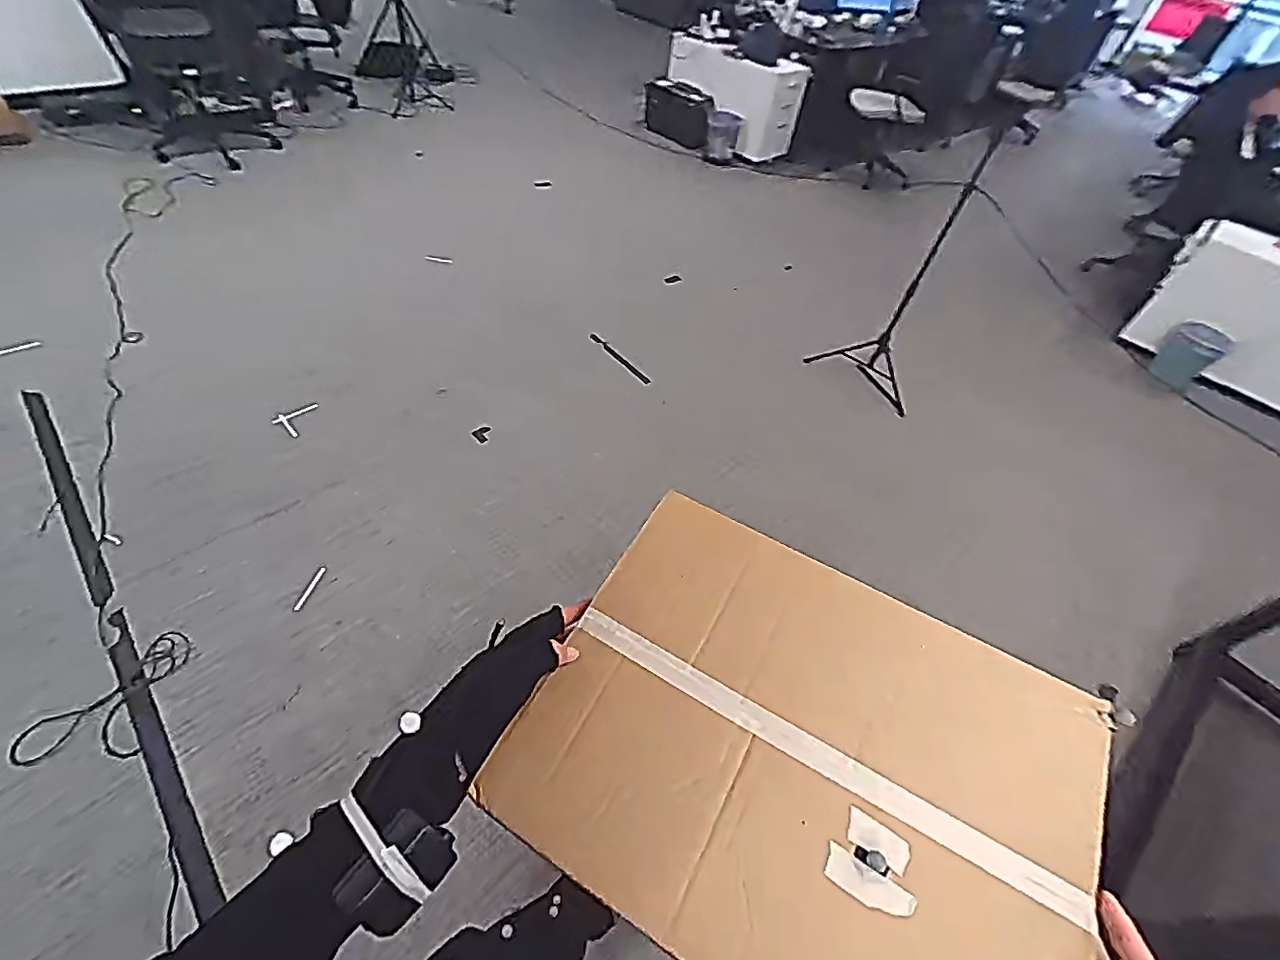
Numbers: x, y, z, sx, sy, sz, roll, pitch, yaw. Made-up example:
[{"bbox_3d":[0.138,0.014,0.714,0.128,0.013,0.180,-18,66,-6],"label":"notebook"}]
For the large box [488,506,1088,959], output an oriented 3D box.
[{"bbox_3d":[0.124,0.296,0.551,0.408,0.320,0.320,26,59,17],"label":"large box"}]
